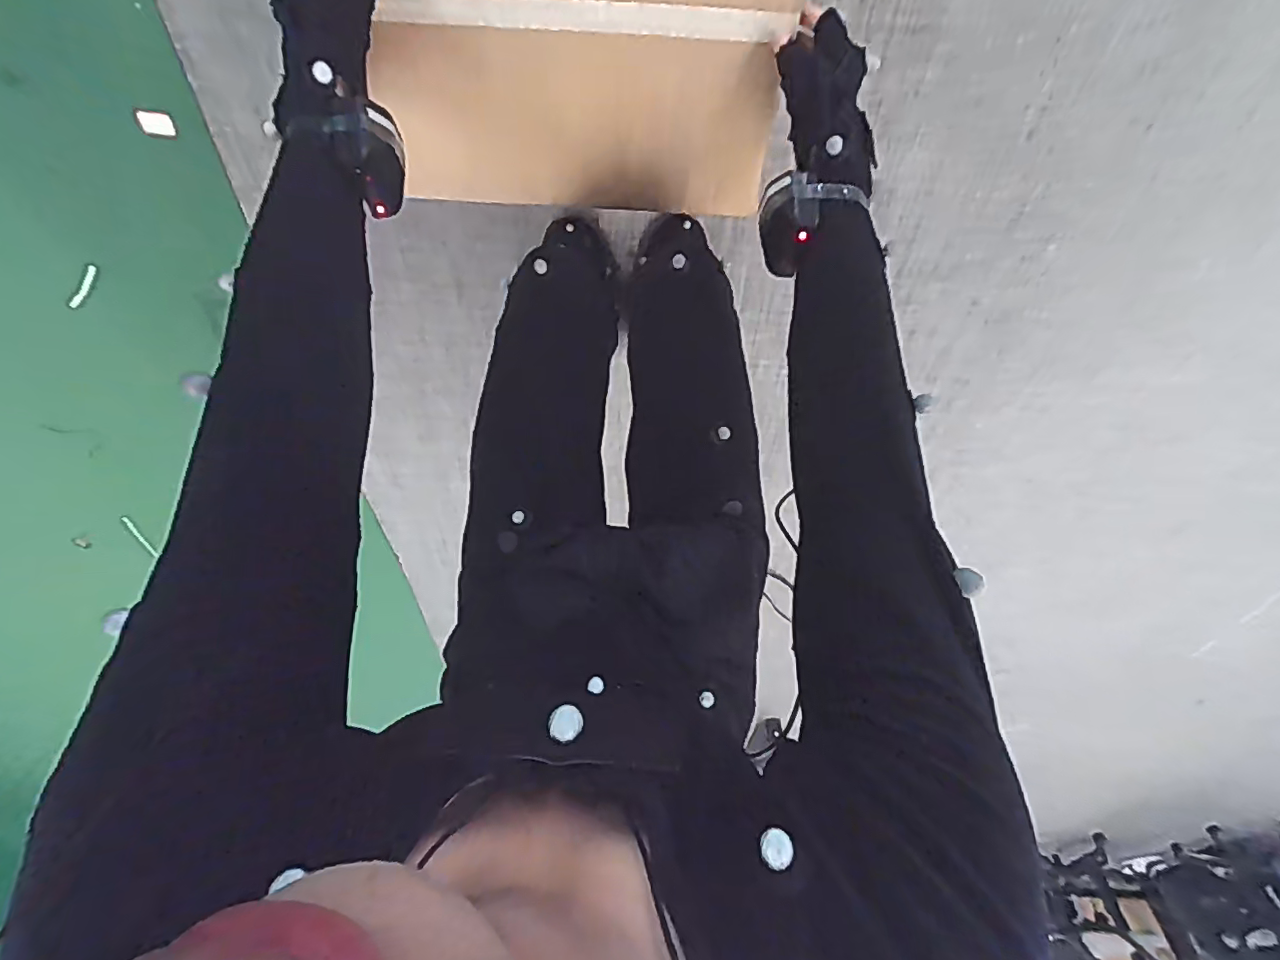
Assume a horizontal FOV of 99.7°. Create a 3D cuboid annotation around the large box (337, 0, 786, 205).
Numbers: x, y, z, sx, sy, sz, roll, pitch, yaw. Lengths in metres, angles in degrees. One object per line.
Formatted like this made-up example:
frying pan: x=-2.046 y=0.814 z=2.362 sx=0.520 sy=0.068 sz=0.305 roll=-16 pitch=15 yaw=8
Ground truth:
large box: x=-0.066 y=-0.519 z=0.584 sx=0.408 sy=0.320 sz=0.320 roll=3 pitch=133 yaw=-1
